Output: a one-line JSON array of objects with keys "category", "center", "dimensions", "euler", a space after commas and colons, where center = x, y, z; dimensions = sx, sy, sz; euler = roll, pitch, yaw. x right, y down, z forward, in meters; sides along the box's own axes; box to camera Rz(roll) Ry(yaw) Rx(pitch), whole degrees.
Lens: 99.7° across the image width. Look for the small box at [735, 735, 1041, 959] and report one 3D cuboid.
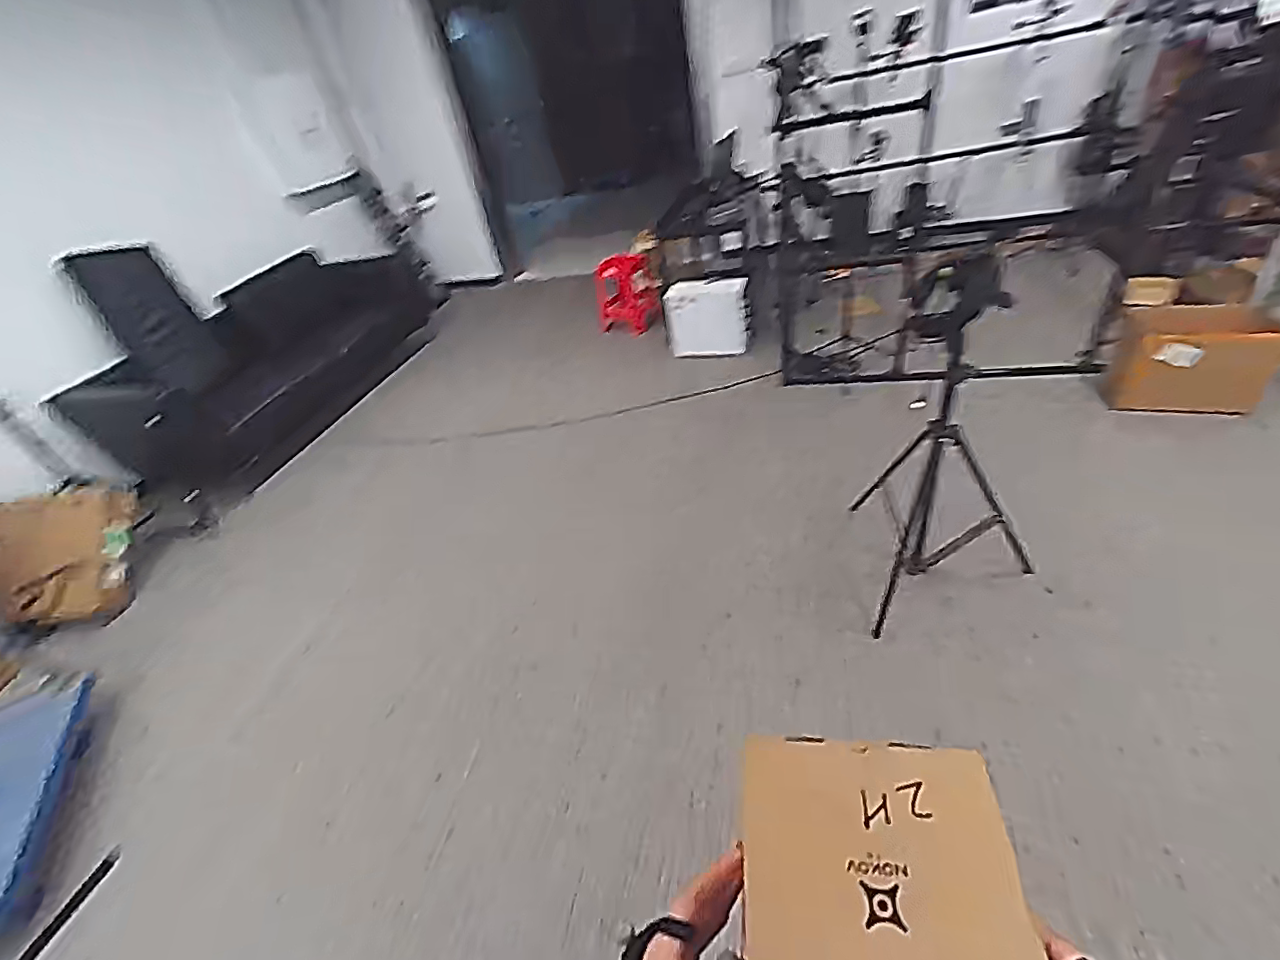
[{"category": "small box", "center": [0.153, 0.305, 0.381], "dimensions": [0.168, 0.176, 0.179], "euler": [0, 44, 9]}]
